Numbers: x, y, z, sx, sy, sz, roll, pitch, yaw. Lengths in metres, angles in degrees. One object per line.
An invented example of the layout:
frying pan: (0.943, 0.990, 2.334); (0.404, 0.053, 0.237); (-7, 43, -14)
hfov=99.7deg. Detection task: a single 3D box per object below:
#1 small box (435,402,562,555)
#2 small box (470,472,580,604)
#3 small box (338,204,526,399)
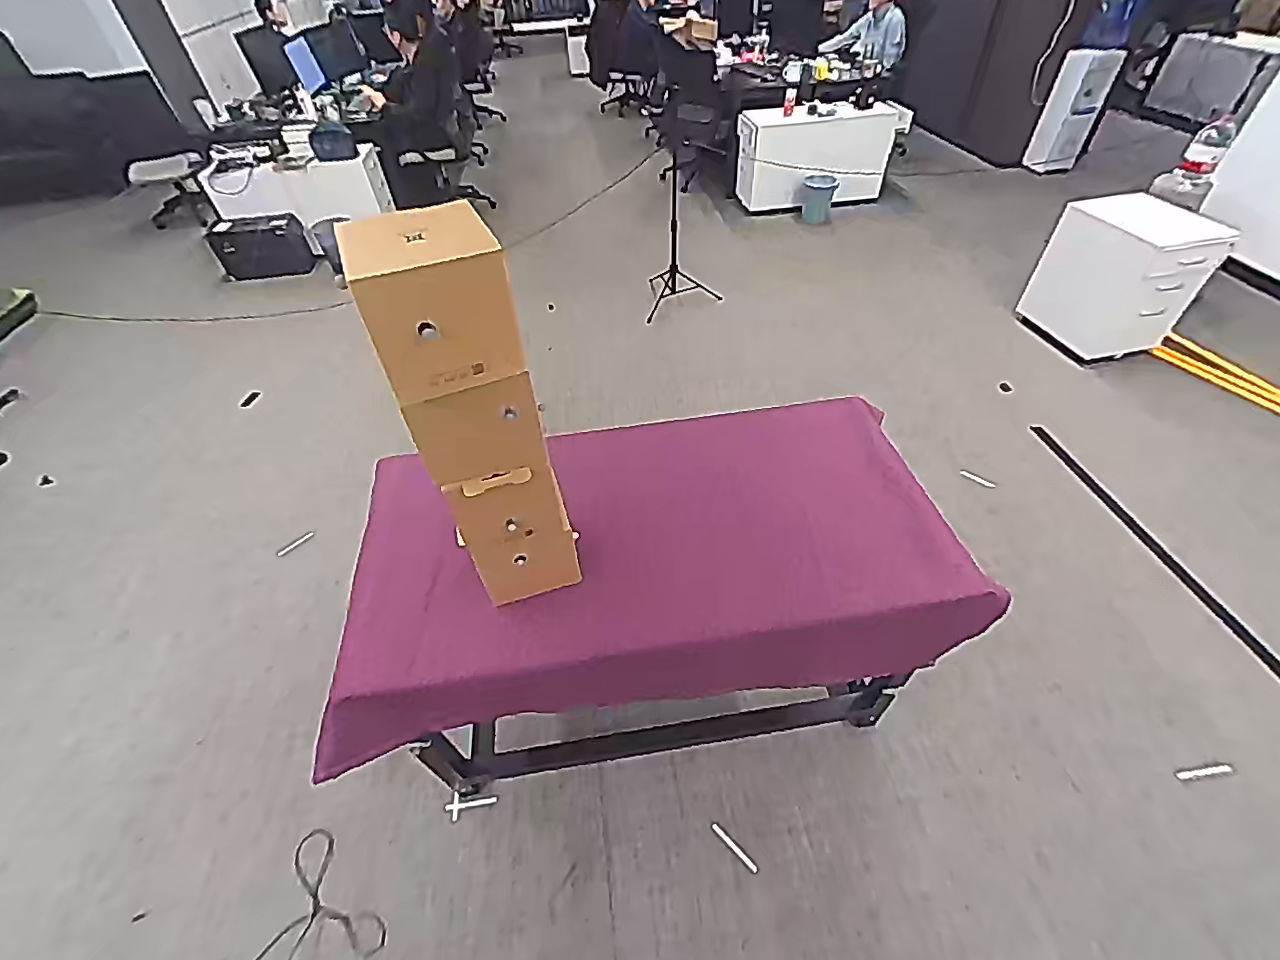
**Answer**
small box: (-0.240, -0.003, 0.927); (0.168, 0.176, 0.179); (-16, 48, -11)
small box: (-0.224, 0.114, 1.043); (0.179, 0.176, 0.168); (-14, 47, -11)
small box: (-0.255, -0.221, 0.682); (0.168, 0.176, 0.179); (-20, 48, -17)
